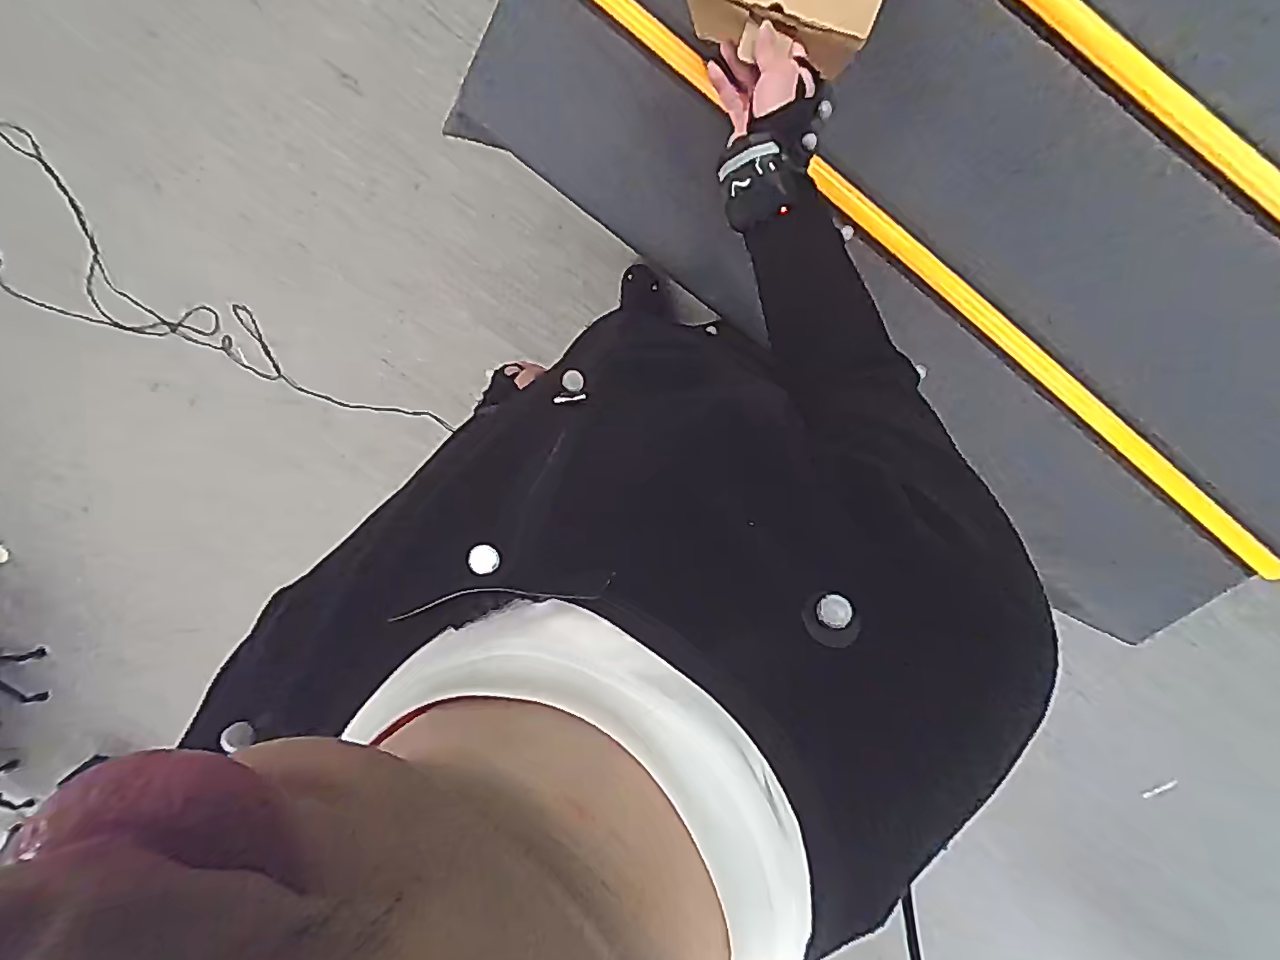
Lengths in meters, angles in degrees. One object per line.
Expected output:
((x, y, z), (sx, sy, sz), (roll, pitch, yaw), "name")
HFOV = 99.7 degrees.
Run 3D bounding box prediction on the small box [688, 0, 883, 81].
((0.154, -0.502, 0.503), (0.168, 0.176, 0.179), (16, 119, 3), "small box")
